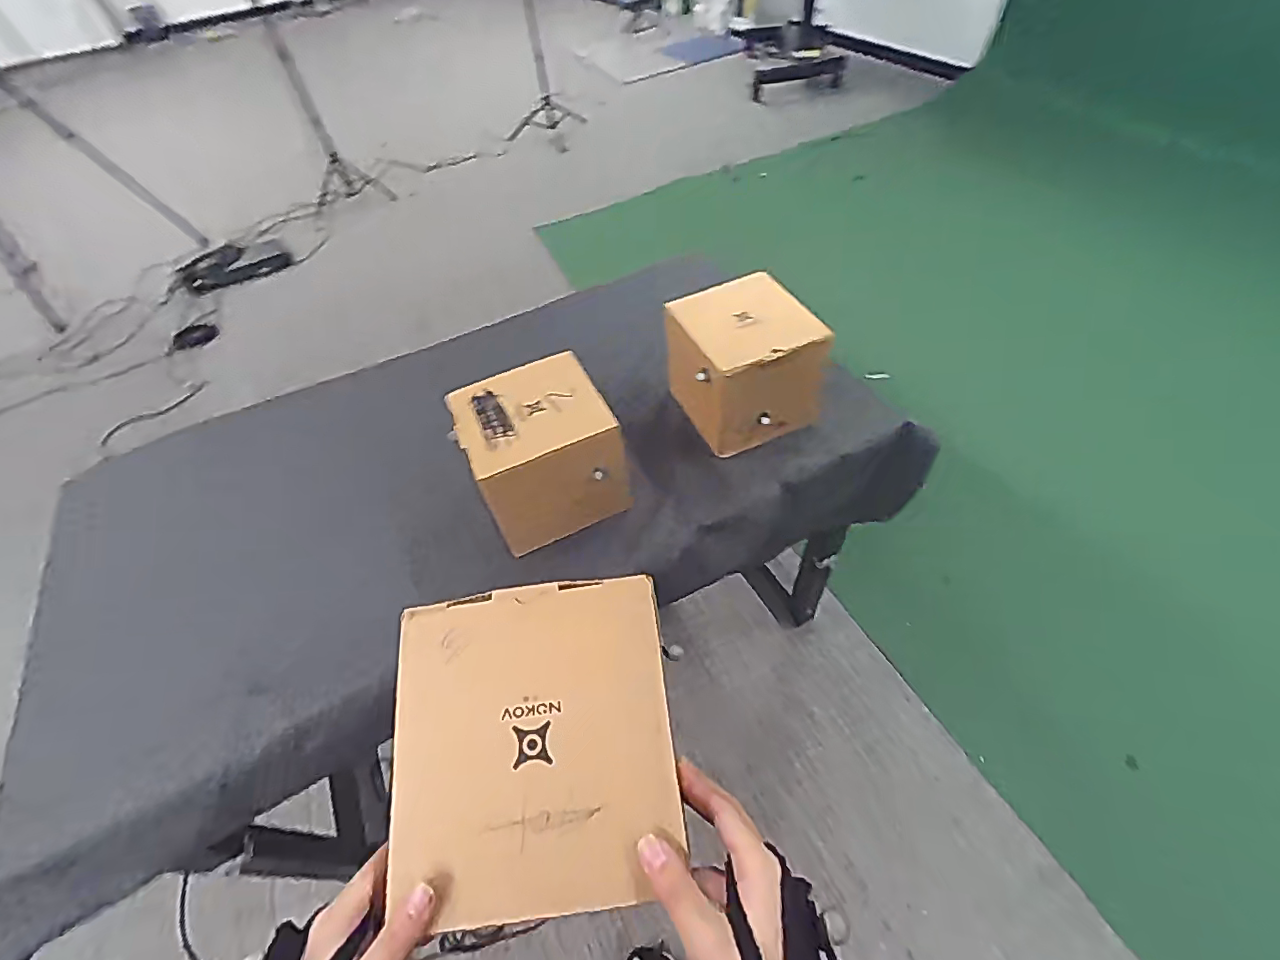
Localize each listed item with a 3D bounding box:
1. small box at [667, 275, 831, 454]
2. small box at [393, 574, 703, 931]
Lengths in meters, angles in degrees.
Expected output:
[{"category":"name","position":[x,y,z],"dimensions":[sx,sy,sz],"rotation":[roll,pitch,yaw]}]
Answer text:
[{"category":"small box","position":[0.150,-0.170,0.807],"dimensions":[0.168,0.176,0.179],"rotation":[-22,53,-11]},{"category":"small box","position":[-0.052,0.181,0.389],"dimensions":[0.168,0.176,0.179],"rotation":[-8,66,1]}]
